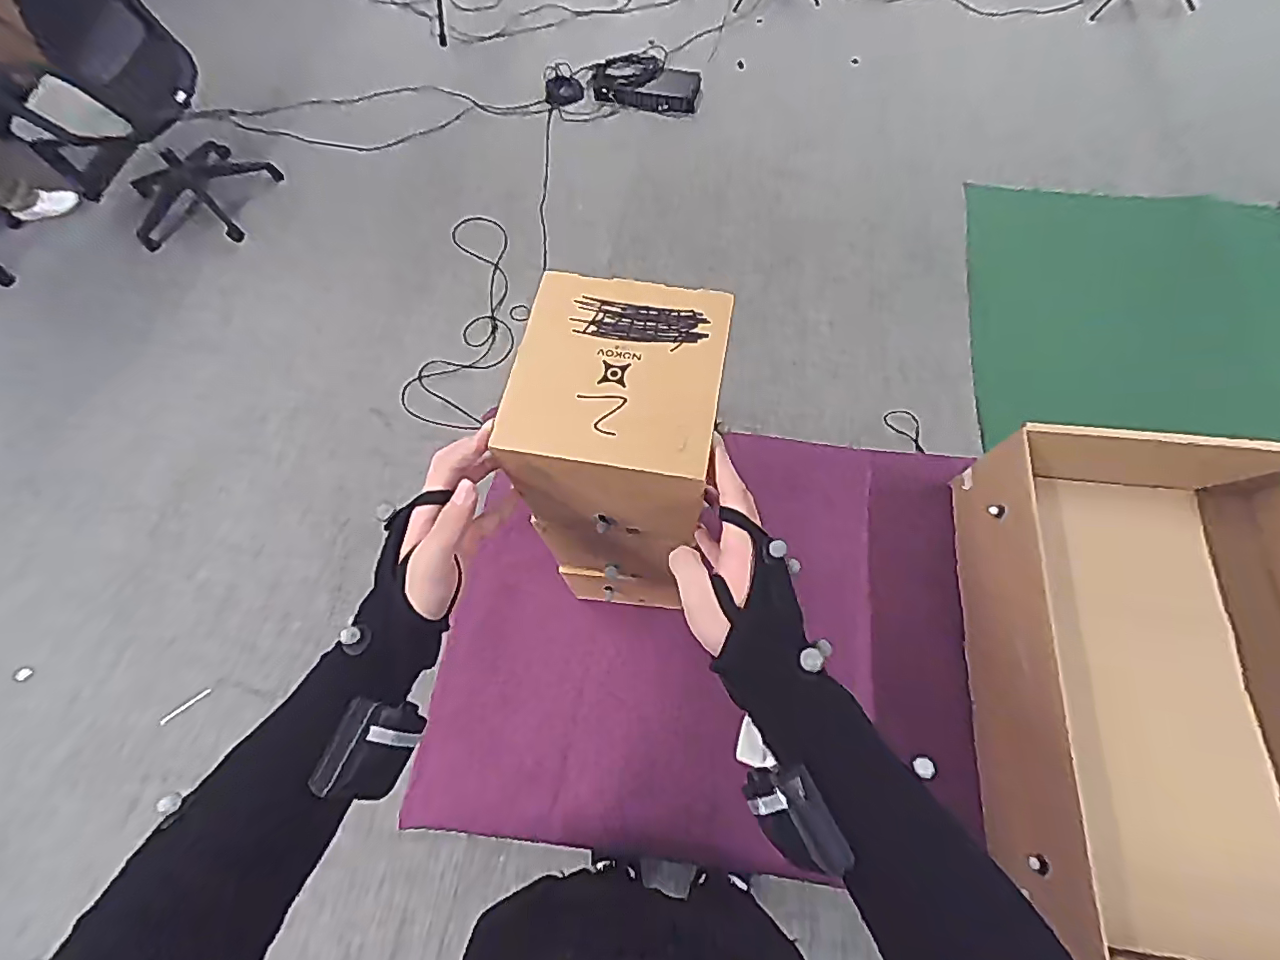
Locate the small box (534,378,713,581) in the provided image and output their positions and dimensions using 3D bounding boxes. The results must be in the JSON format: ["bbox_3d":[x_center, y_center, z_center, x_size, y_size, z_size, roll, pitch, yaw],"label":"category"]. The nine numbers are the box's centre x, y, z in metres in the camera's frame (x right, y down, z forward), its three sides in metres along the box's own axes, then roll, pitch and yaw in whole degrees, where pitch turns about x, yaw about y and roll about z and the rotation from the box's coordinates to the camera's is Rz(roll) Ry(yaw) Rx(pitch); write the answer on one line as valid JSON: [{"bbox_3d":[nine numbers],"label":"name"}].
[{"bbox_3d":[-0.012,0.006,0.651,0.168,0.176,0.179,9,66,7],"label":"small box"}]

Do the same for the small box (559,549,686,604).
[{"bbox_3d":[-0.011,0.077,0.800,0.168,0.176,0.179,5,65,5],"label":"small box"}]
